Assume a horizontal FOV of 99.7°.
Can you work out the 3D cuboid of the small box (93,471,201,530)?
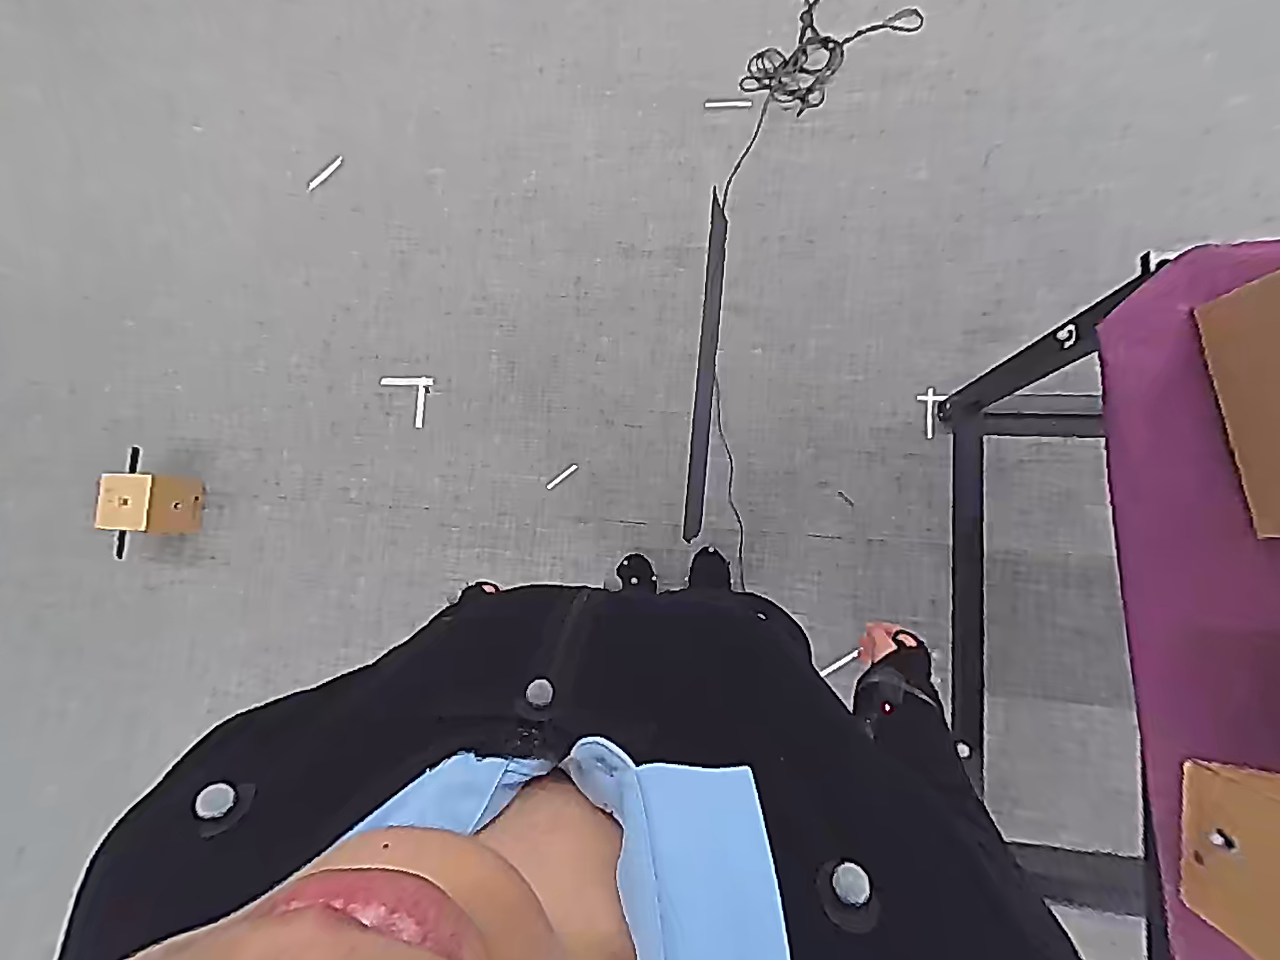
[{"bbox_3d":[-1.492,0.065,1.646,0.179,0.176,0.168,2,84,8],"label":"small box"}]
